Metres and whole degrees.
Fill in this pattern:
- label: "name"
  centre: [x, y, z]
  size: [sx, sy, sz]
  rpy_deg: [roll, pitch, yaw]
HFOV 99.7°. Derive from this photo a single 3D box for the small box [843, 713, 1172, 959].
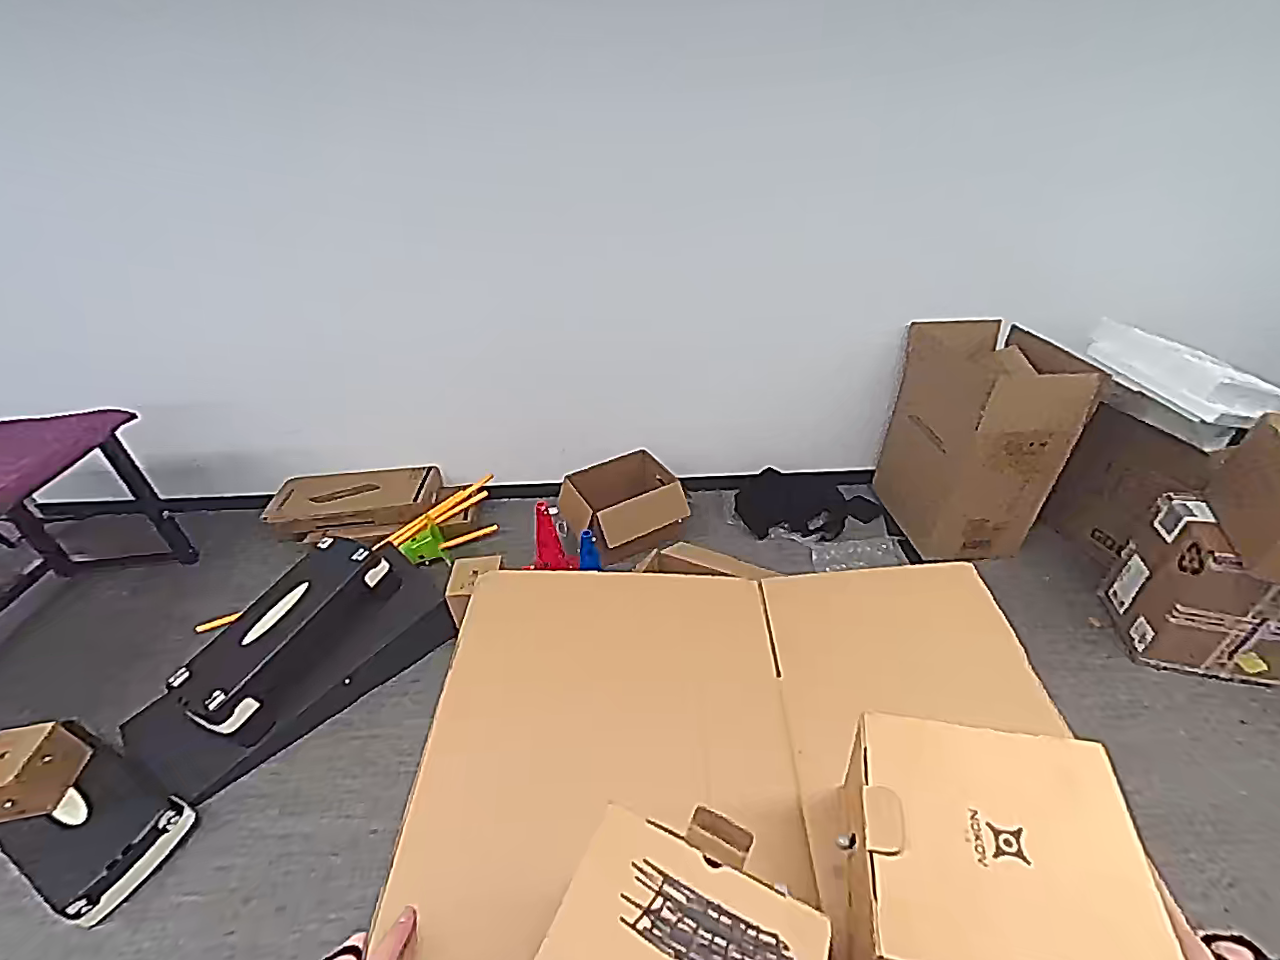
- label: "small box"
  centre: [0.269, 0.320, 0.443]
  size: [0.179, 0.176, 0.168]
  rpy_deg: [2, 42, 16]
